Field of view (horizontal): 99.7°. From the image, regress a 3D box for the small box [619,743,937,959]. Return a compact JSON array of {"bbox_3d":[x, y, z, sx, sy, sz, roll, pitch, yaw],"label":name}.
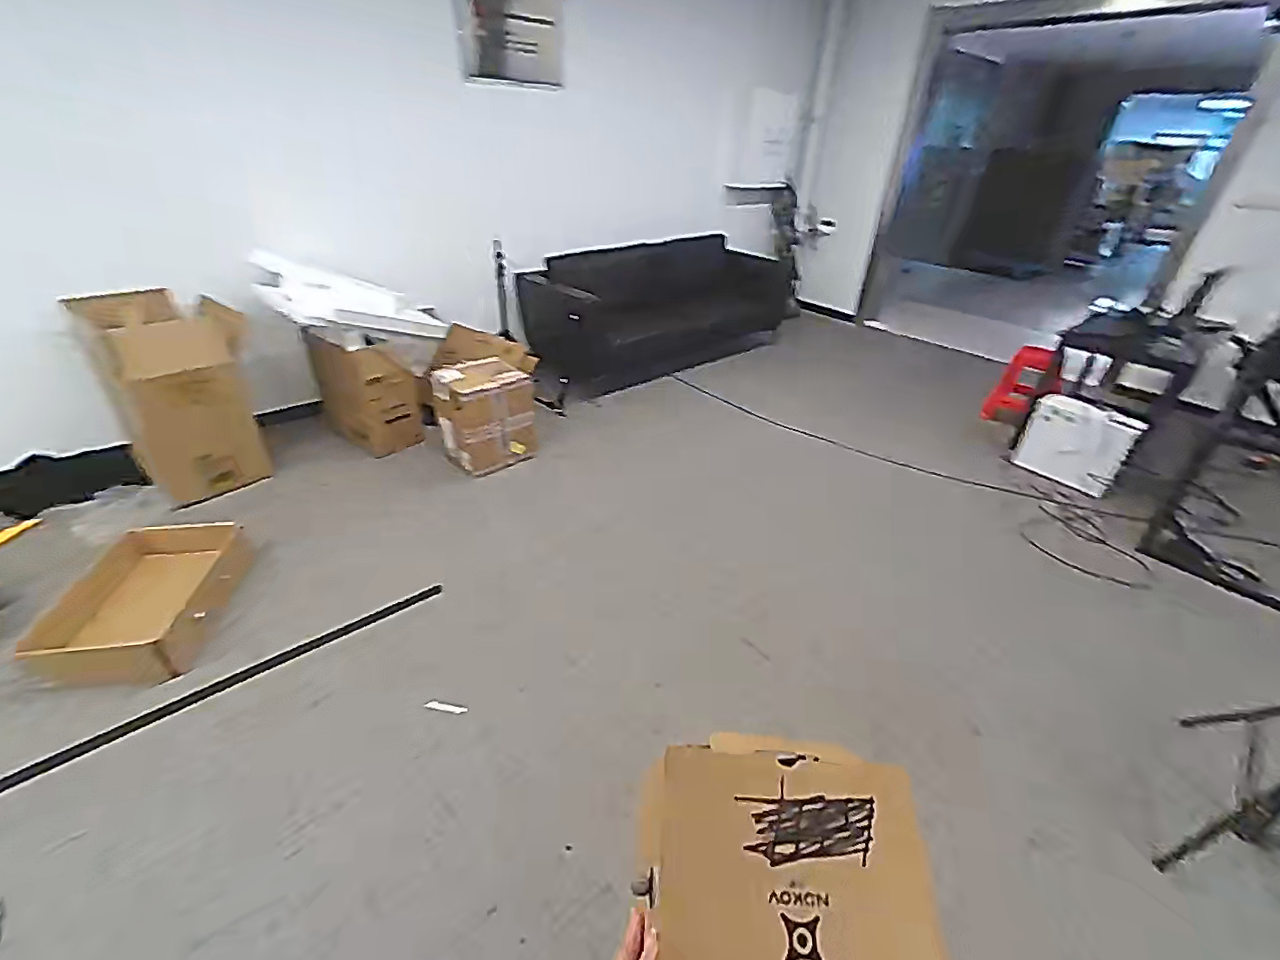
[{"bbox_3d":[0.075,0.299,0.365,0.168,0.176,0.179,6,50,-3],"label":"small box"}]
